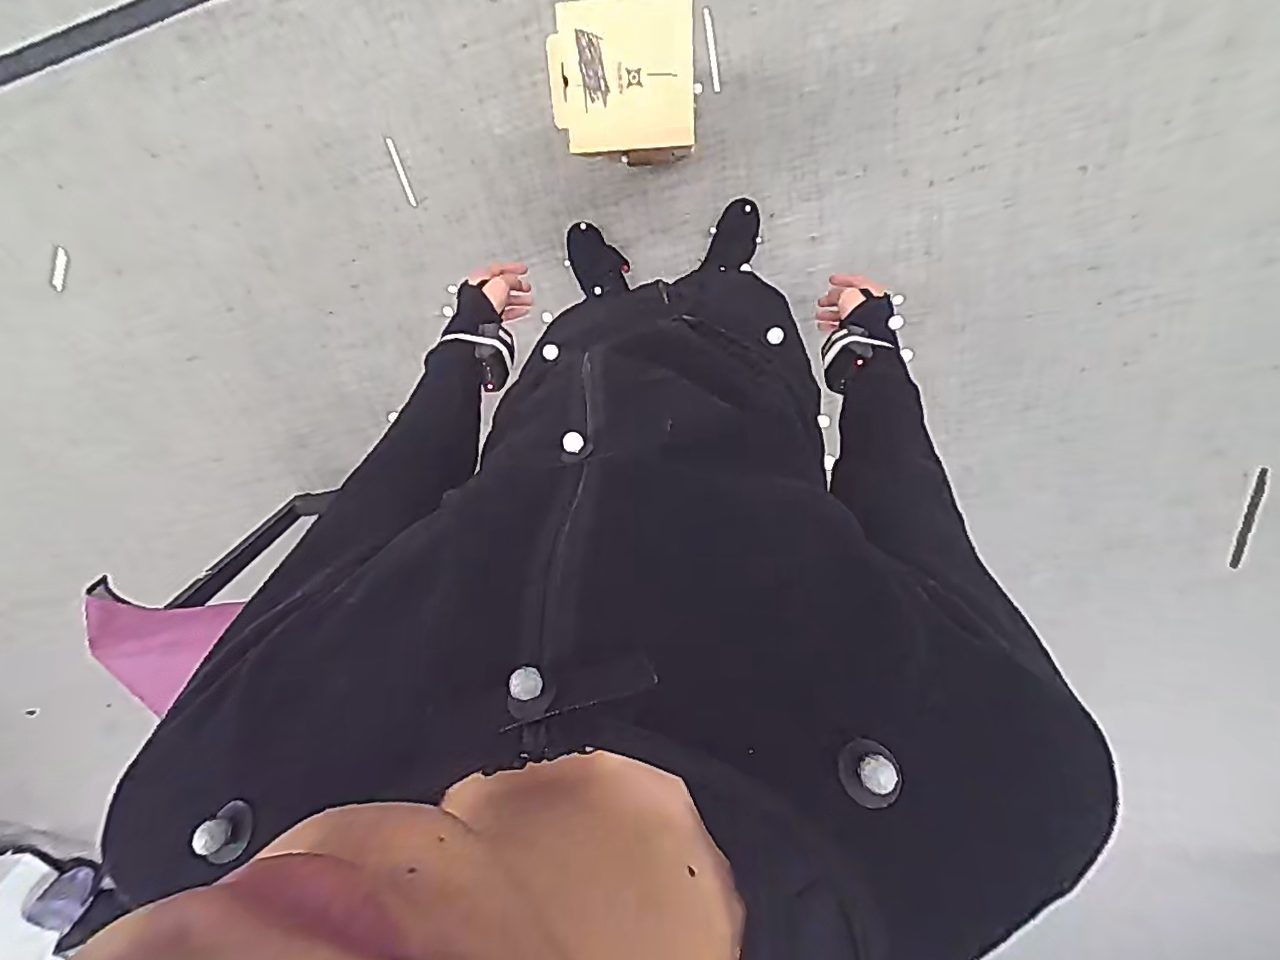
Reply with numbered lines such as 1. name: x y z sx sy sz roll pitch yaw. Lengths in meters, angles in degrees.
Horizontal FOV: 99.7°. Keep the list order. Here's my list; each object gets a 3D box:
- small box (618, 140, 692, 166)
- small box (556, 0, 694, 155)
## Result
1. small box: 0.028 -0.817 1.207 0.168 0.176 0.179 -7 119 8
2. small box: -0.012 -0.572 0.780 0.179 0.176 0.168 -2 120 4
